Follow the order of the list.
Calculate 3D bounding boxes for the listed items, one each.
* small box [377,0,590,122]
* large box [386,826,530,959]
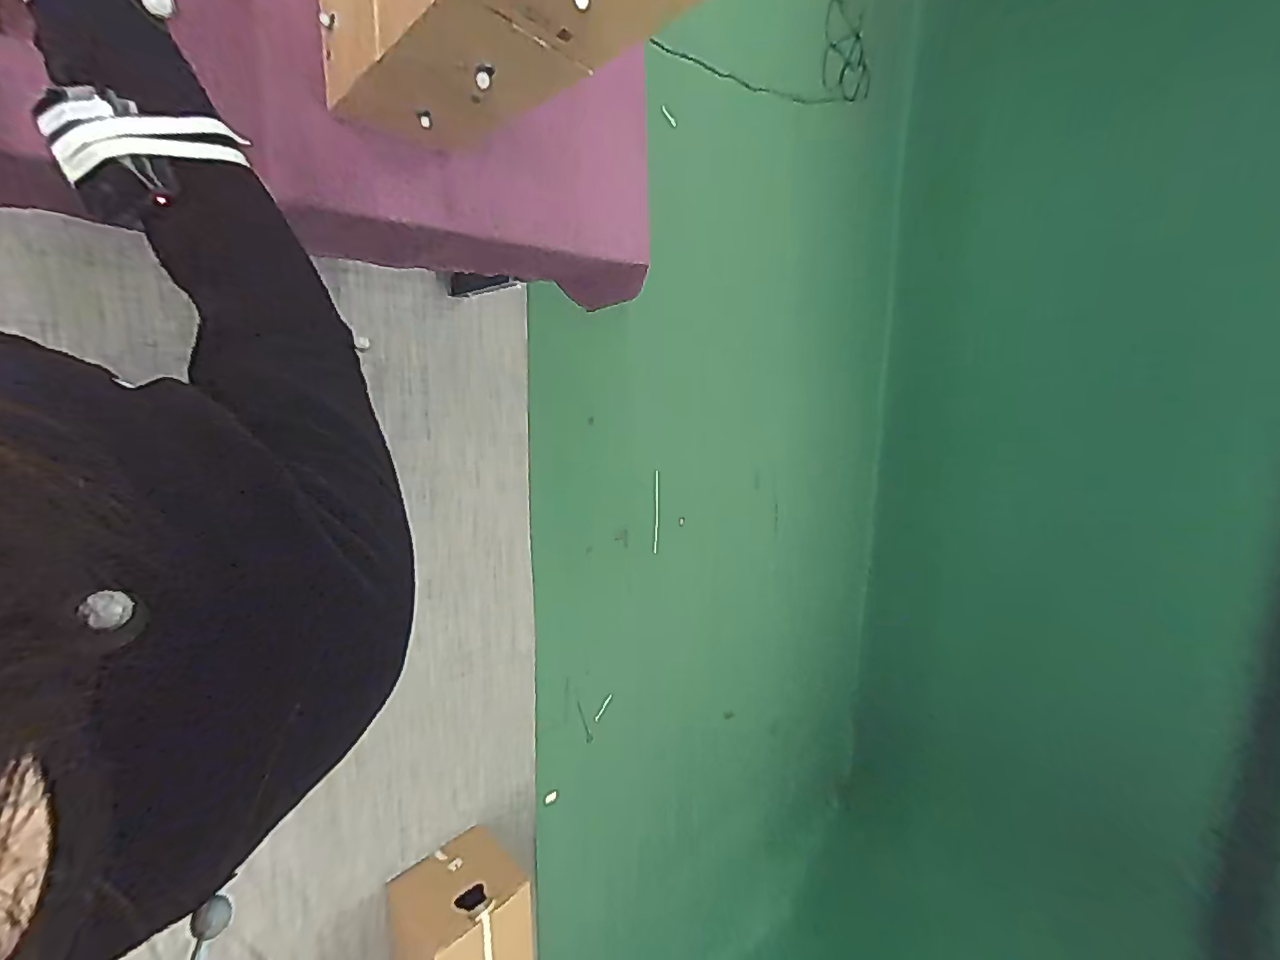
[{"bbox_3d":[-0.163,-0.521,0.571,0.168,0.176,0.179,-4,100,-46],"label":"small box"},{"bbox_3d":[-0.561,1.415,1.686,0.320,0.320,0.408,-11,105,-46],"label":"large box"}]
